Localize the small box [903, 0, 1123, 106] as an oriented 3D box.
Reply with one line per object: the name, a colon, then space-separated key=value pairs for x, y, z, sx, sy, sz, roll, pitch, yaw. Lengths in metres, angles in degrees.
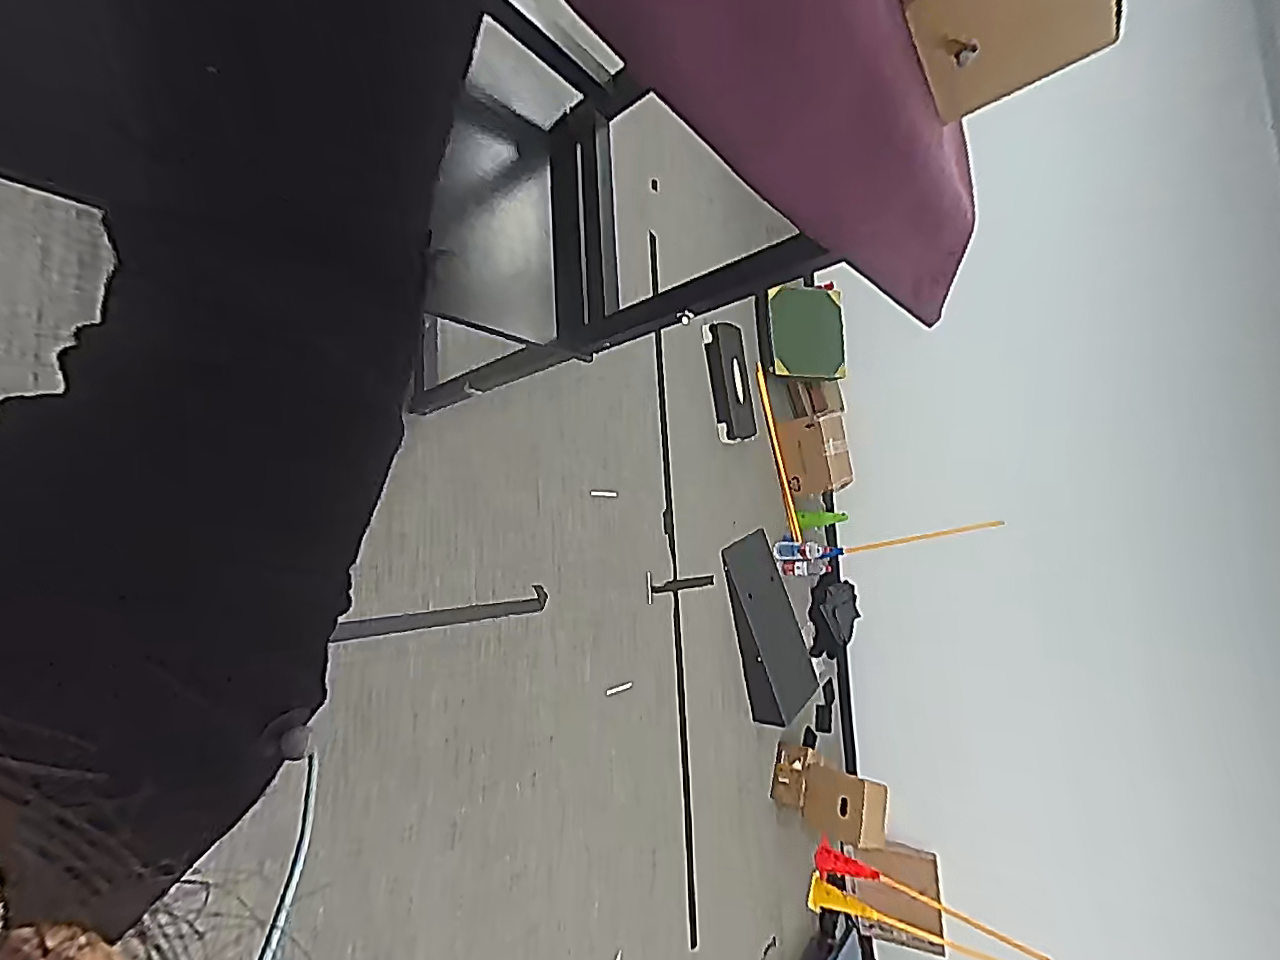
small box: x=0.386 y=-0.543 z=0.569 sx=0.179 sy=0.176 sz=0.168 roll=19 pitch=69 yaw=-47
